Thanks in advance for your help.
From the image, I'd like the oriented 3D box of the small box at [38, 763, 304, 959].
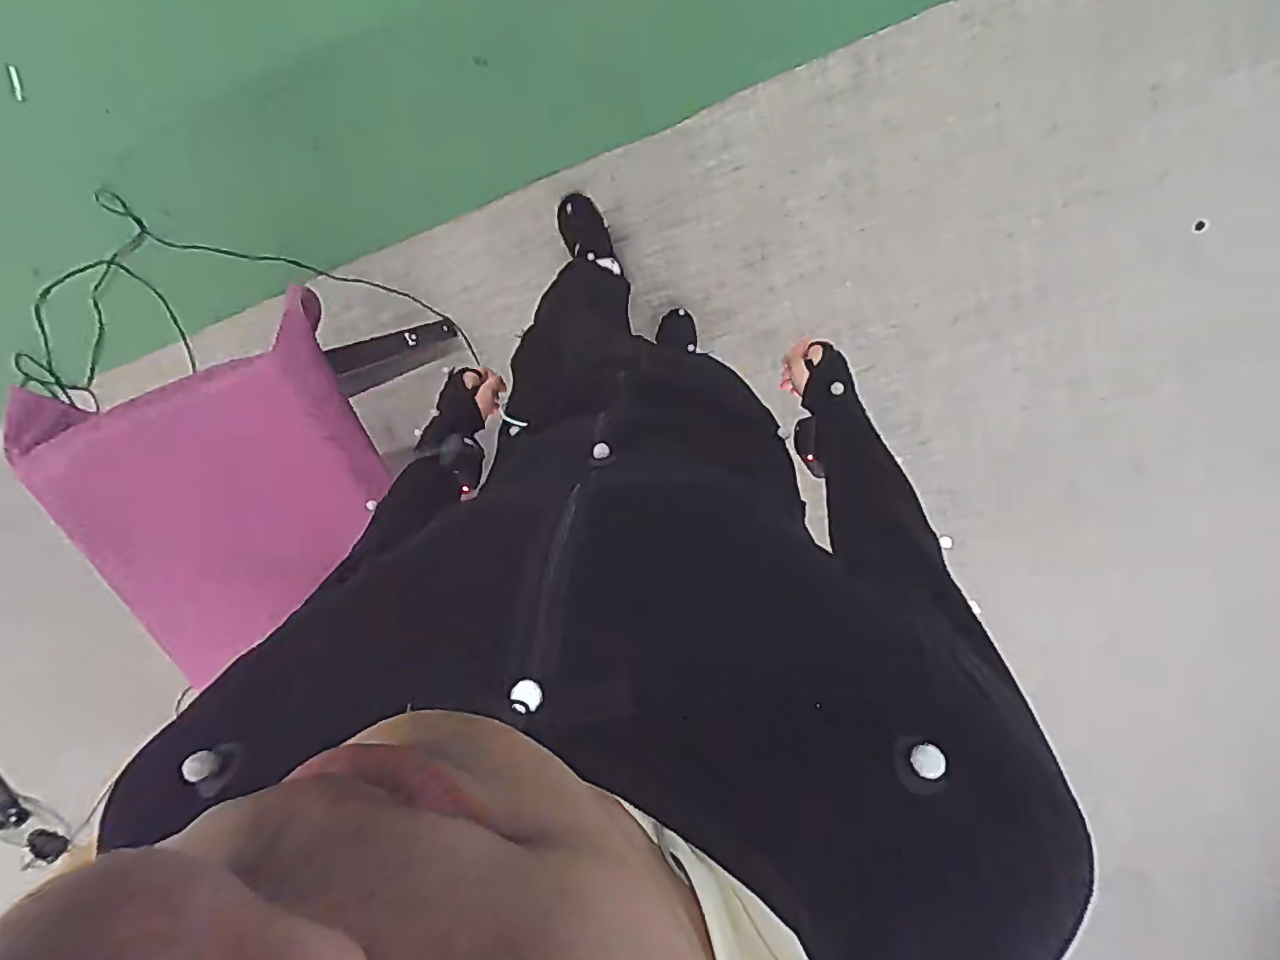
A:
[{"bbox_3d":[-0.580,0.497,0.702,0.179,0.176,0.168,-13,109,11],"label":"small box"}]
